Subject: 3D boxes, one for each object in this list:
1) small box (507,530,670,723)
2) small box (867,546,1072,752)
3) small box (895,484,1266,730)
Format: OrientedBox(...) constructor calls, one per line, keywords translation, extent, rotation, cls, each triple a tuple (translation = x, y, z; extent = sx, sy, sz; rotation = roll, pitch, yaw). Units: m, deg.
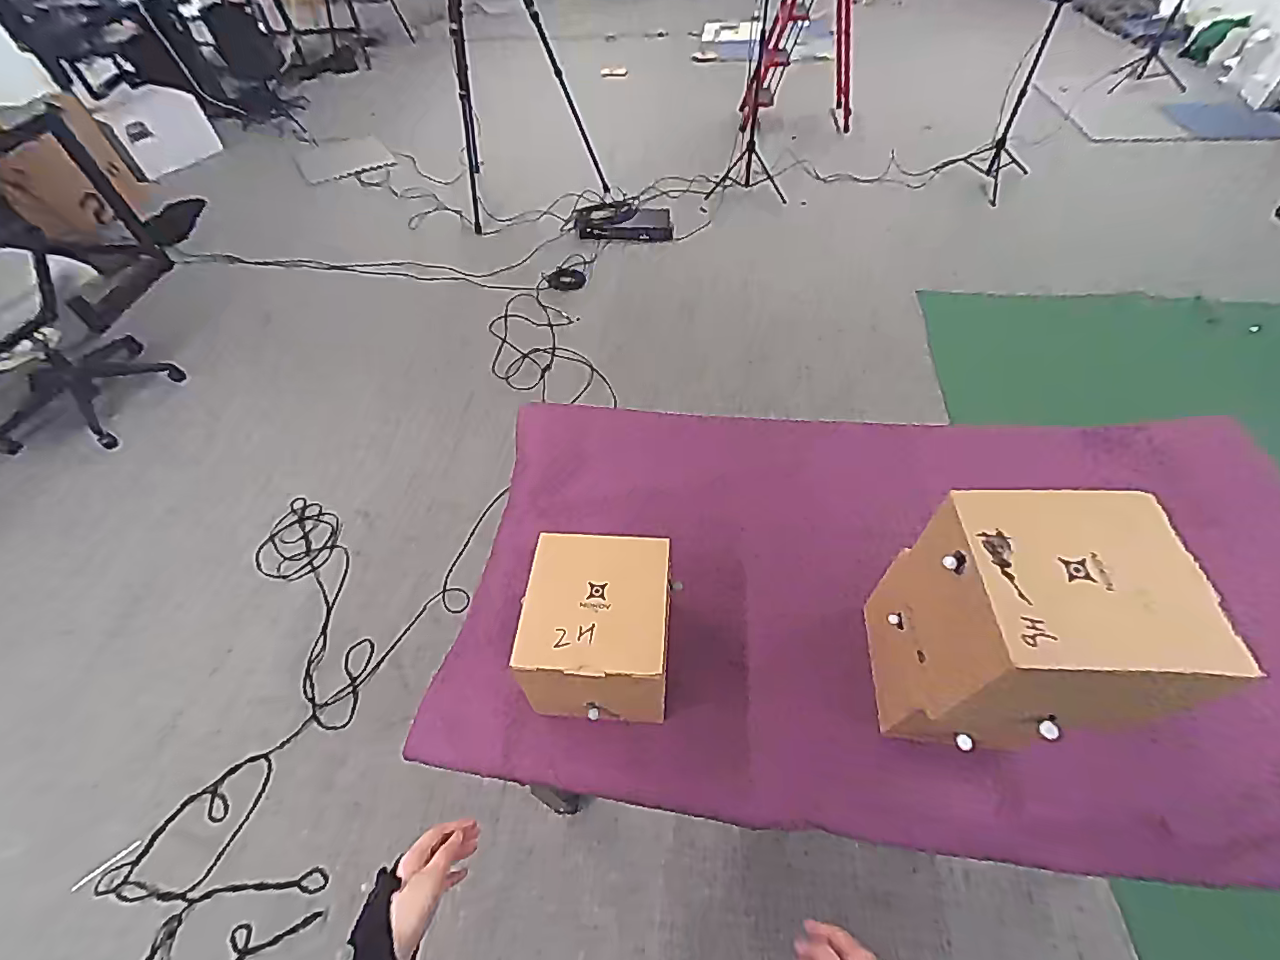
OrientedBox(translation=(-0.050, 0.184, 0.677), extent=(0.168, 0.176, 0.179), rotation=(2, 51, 5), cls="small box")
OrientedBox(translation=(0.383, 0.201, 0.641), extent=(0.168, 0.176, 0.179), rotation=(4, 52, 7), cls="small box")
OrientedBox(translation=(0.365, 0.121, 0.496), extent=(0.179, 0.176, 0.168), rotation=(2, 52, 5), cls="small box")
